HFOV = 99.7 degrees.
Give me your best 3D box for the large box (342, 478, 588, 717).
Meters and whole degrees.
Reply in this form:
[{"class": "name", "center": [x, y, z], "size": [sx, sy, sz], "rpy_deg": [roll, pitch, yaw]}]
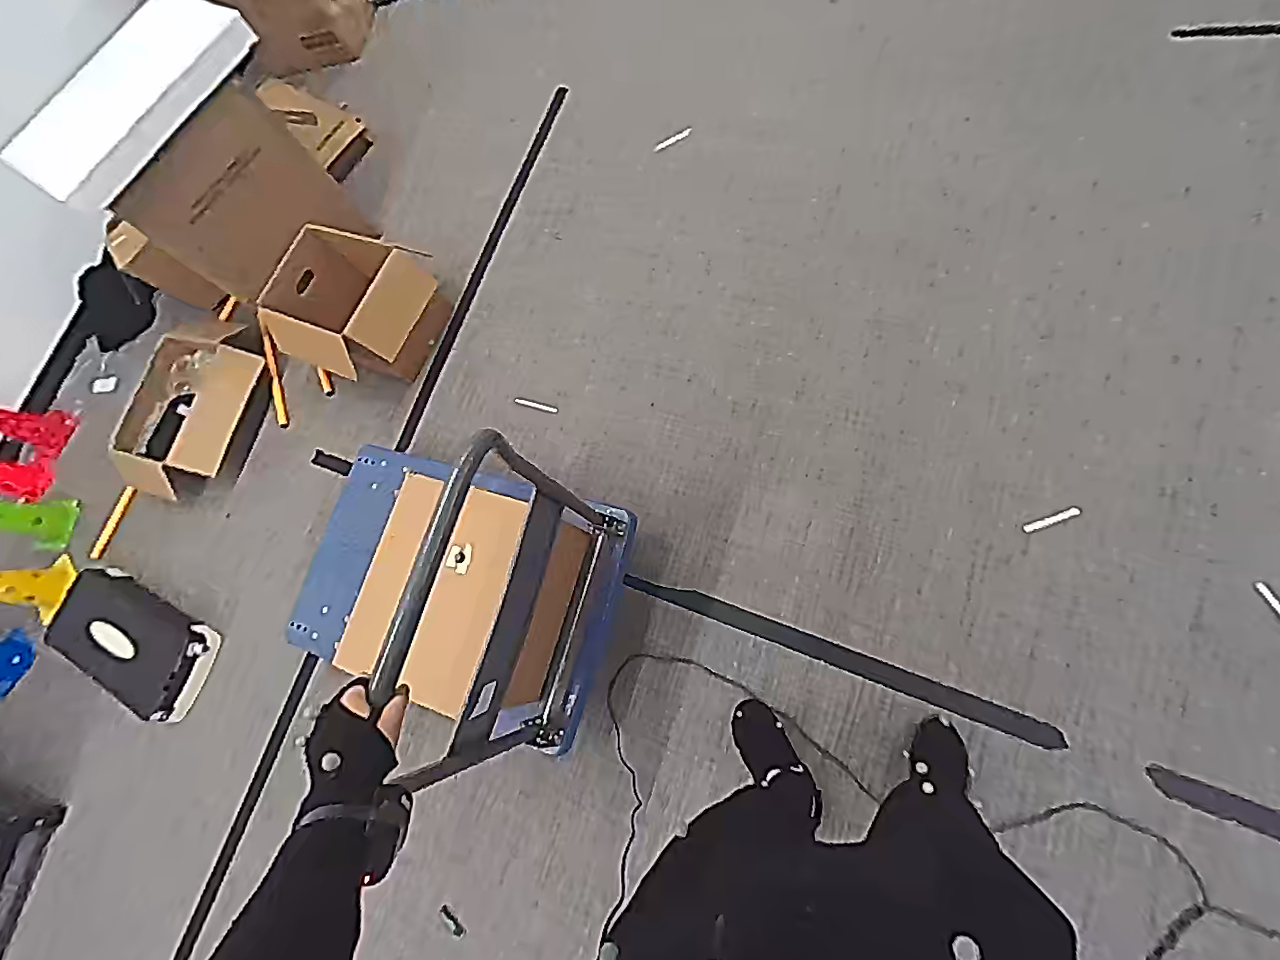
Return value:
[{"class": "large box", "center": [-0.353, 0.253, 1.183], "size": [0.320, 0.320, 0.408], "rpy_deg": [12, 77, 19]}]
